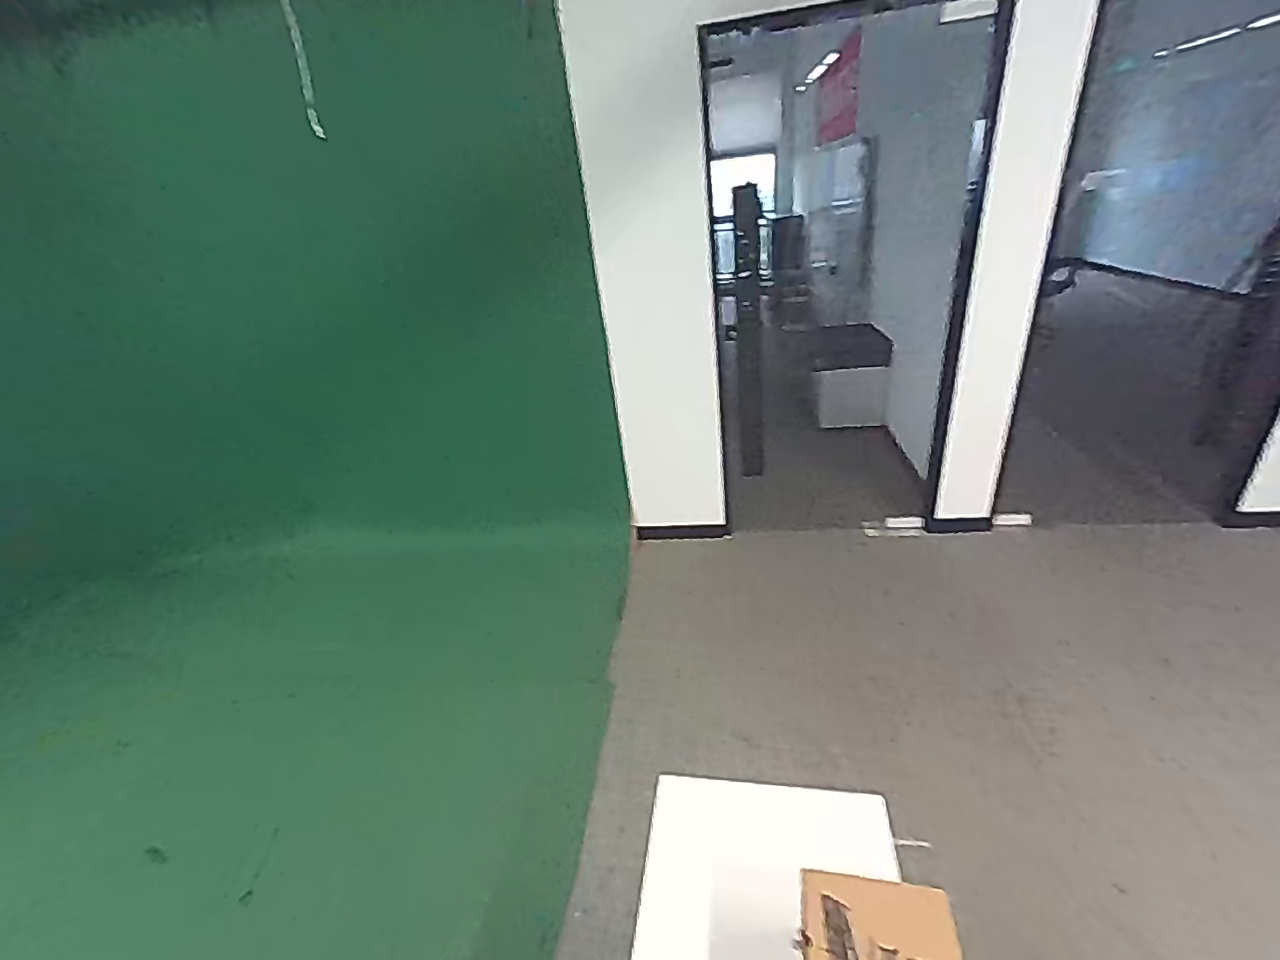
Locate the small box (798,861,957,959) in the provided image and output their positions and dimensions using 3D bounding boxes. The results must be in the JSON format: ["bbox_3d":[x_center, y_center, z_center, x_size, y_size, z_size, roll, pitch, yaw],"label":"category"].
[{"bbox_3d":[0.291,0.622,0.677,0.179,0.176,0.168,0,29,14],"label":"small box"}]
